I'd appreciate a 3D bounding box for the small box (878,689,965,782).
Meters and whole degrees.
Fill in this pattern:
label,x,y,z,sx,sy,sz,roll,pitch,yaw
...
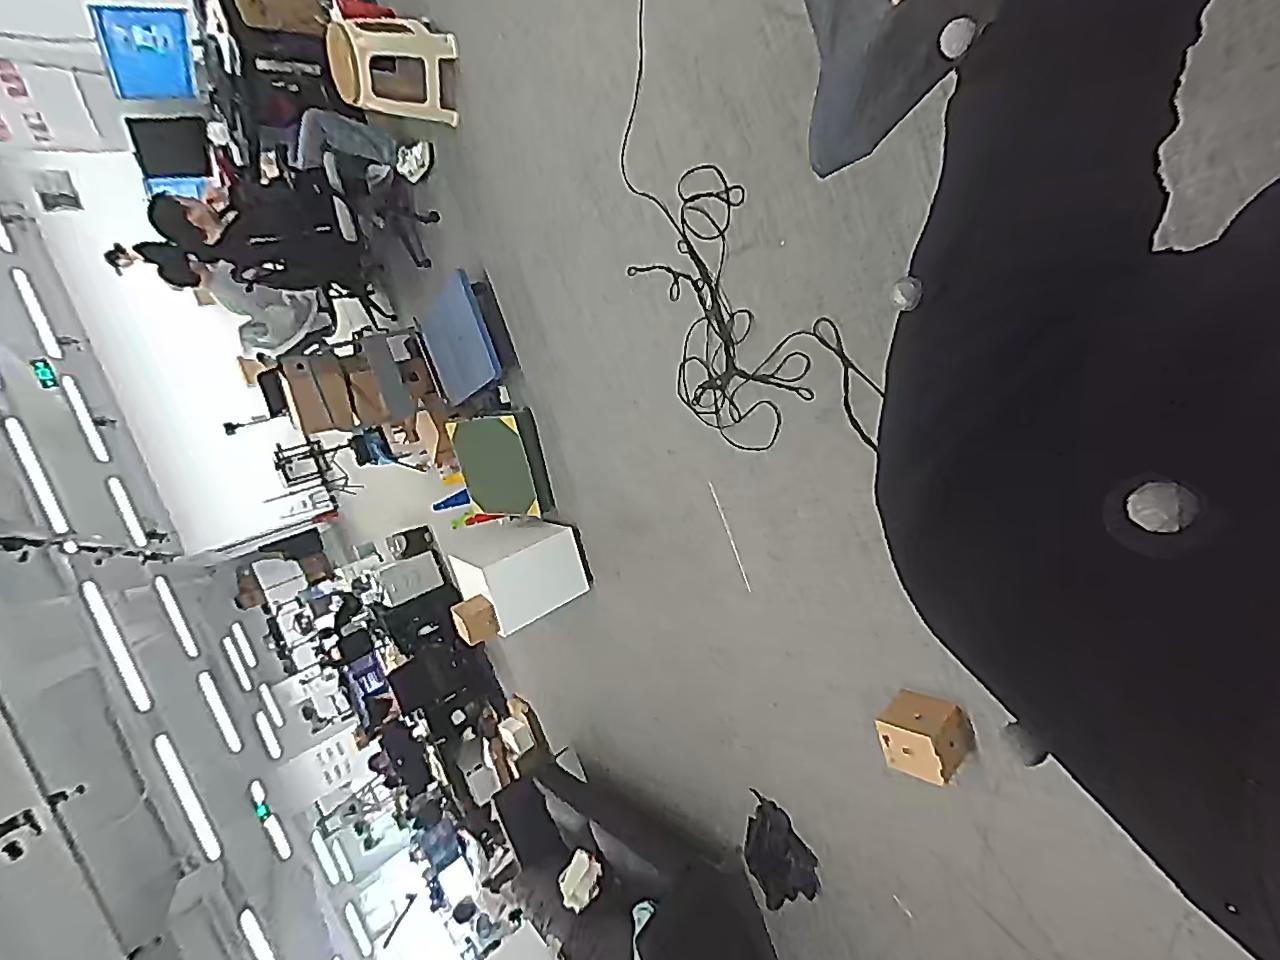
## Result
label,x,y,z,sx,sy,sz,roll,pitch,yaw
small box,0.857,0.762,1.635,0.179,0.176,0.168,-7,104,54
